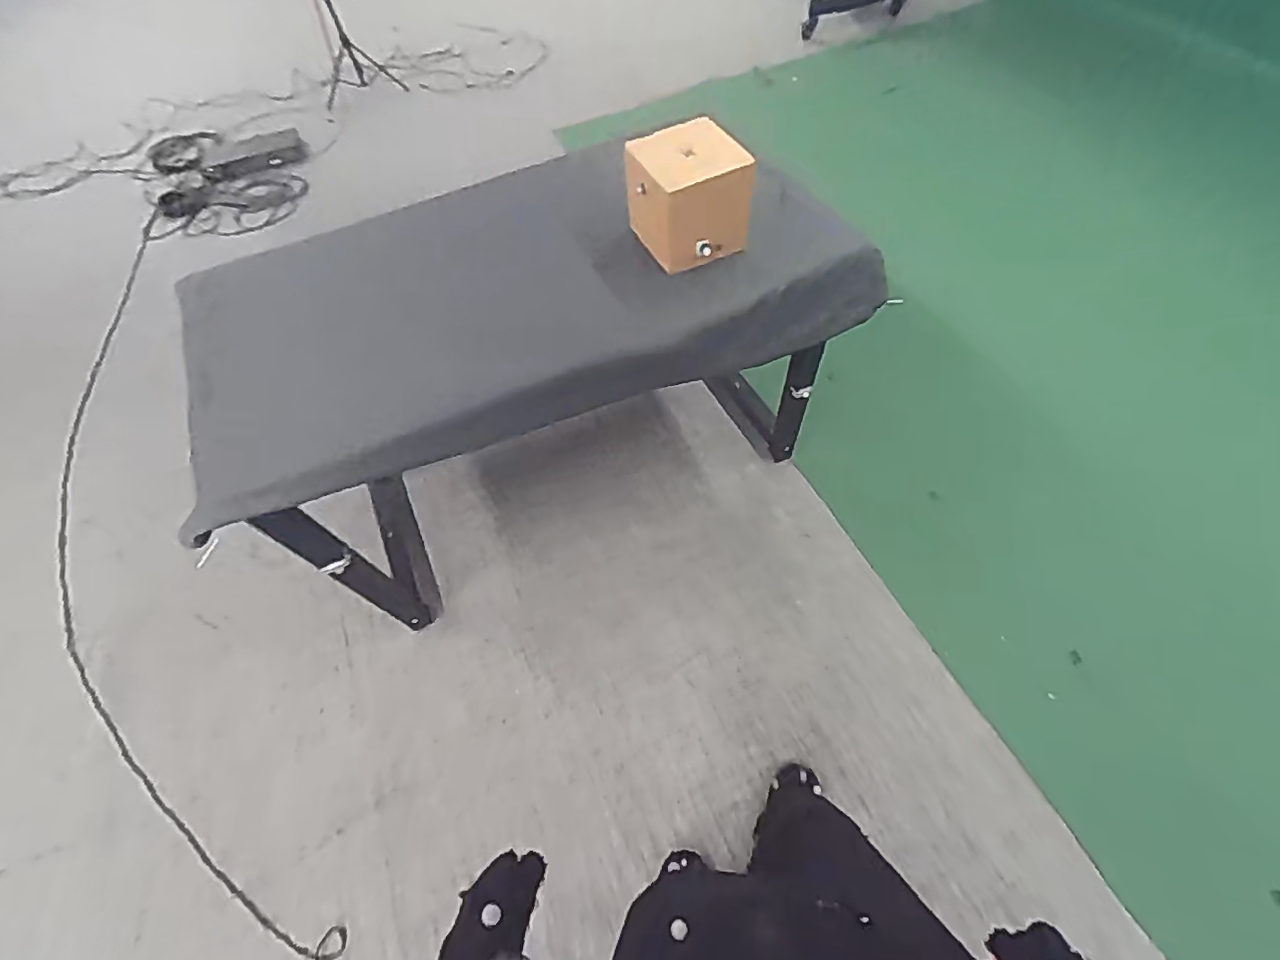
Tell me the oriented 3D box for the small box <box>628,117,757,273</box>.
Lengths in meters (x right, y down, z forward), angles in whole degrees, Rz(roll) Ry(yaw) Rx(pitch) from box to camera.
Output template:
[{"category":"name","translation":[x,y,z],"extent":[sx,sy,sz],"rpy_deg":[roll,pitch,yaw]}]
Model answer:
[{"category":"small box","translation":[0.092,-0.515,0.989],"extent":[0.168,0.176,0.179],"rpy_deg":[-25,61,-8]}]
